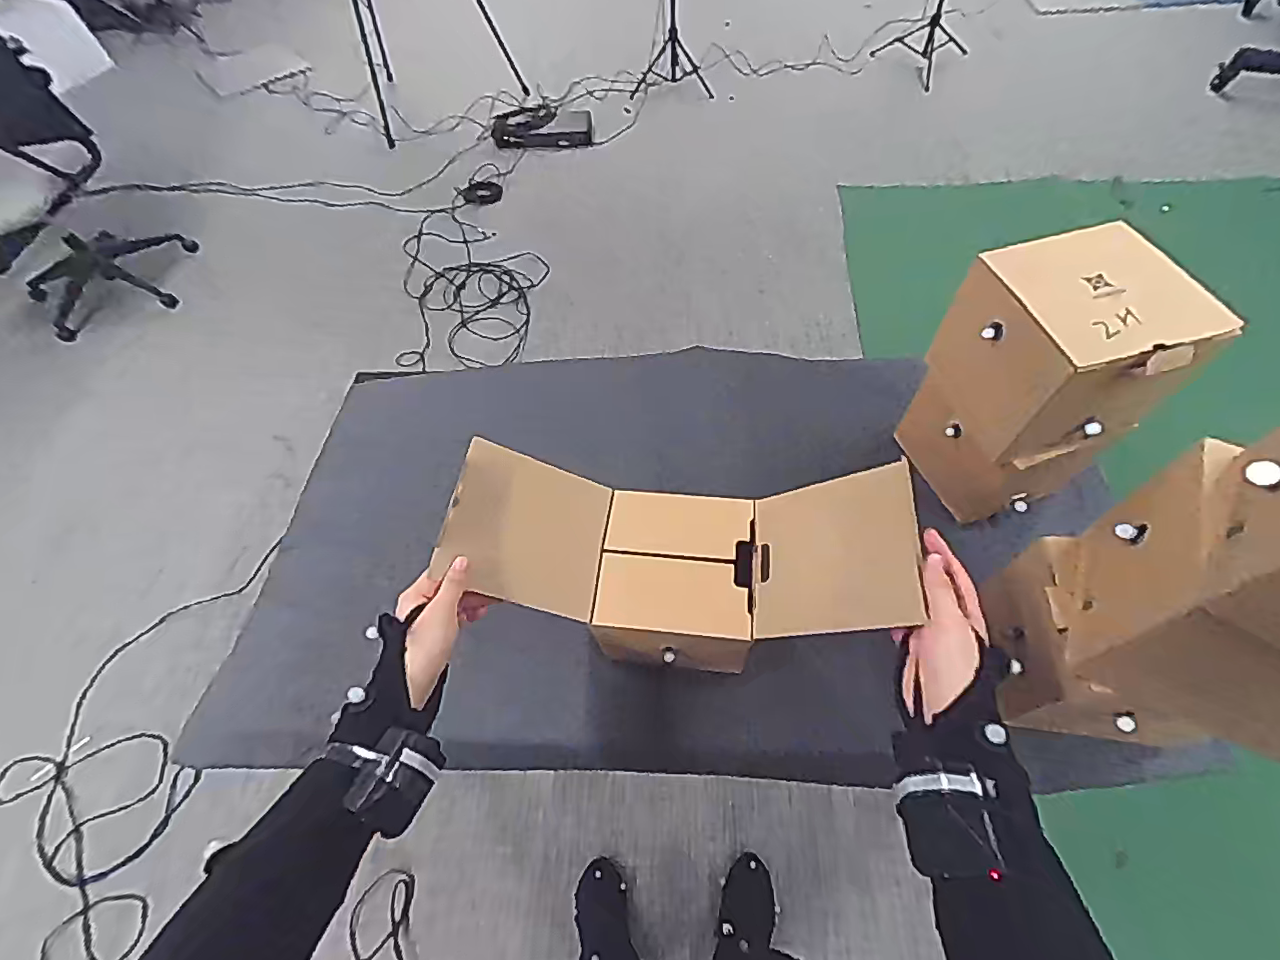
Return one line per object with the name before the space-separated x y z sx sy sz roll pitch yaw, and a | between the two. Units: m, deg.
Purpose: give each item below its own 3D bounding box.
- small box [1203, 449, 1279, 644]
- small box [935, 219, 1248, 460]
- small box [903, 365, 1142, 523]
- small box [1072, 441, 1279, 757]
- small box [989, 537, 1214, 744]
small box | 0.490 0.033 0.295 0.179 0.176 0.168 33 64 24
small box | 0.468 -0.150 0.602 0.168 0.176 0.179 -14 60 0
small box | 0.500 -0.068 0.743 0.168 0.176 0.179 -20 61 -4
small box | 0.505 0.103 0.445 0.179 0.176 0.168 24 61 18
small box | 0.514 0.179 0.590 0.179 0.176 0.168 5 57 8
